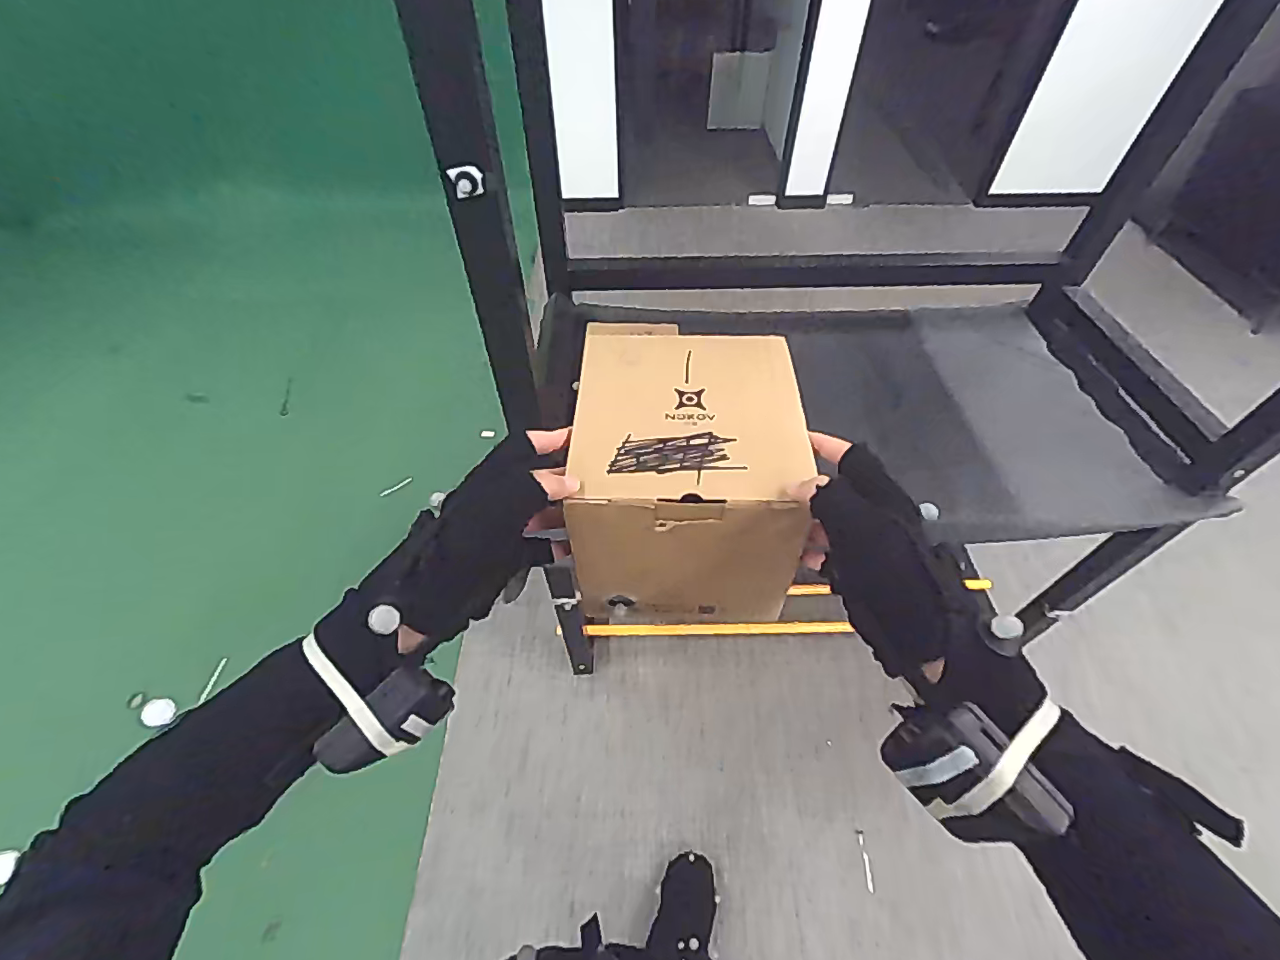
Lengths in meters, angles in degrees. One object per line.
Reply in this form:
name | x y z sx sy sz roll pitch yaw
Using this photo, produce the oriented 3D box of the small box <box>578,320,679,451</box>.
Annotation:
small box | -0.016 -0.167 0.973 0.168 0.176 0.179 1 50 0
